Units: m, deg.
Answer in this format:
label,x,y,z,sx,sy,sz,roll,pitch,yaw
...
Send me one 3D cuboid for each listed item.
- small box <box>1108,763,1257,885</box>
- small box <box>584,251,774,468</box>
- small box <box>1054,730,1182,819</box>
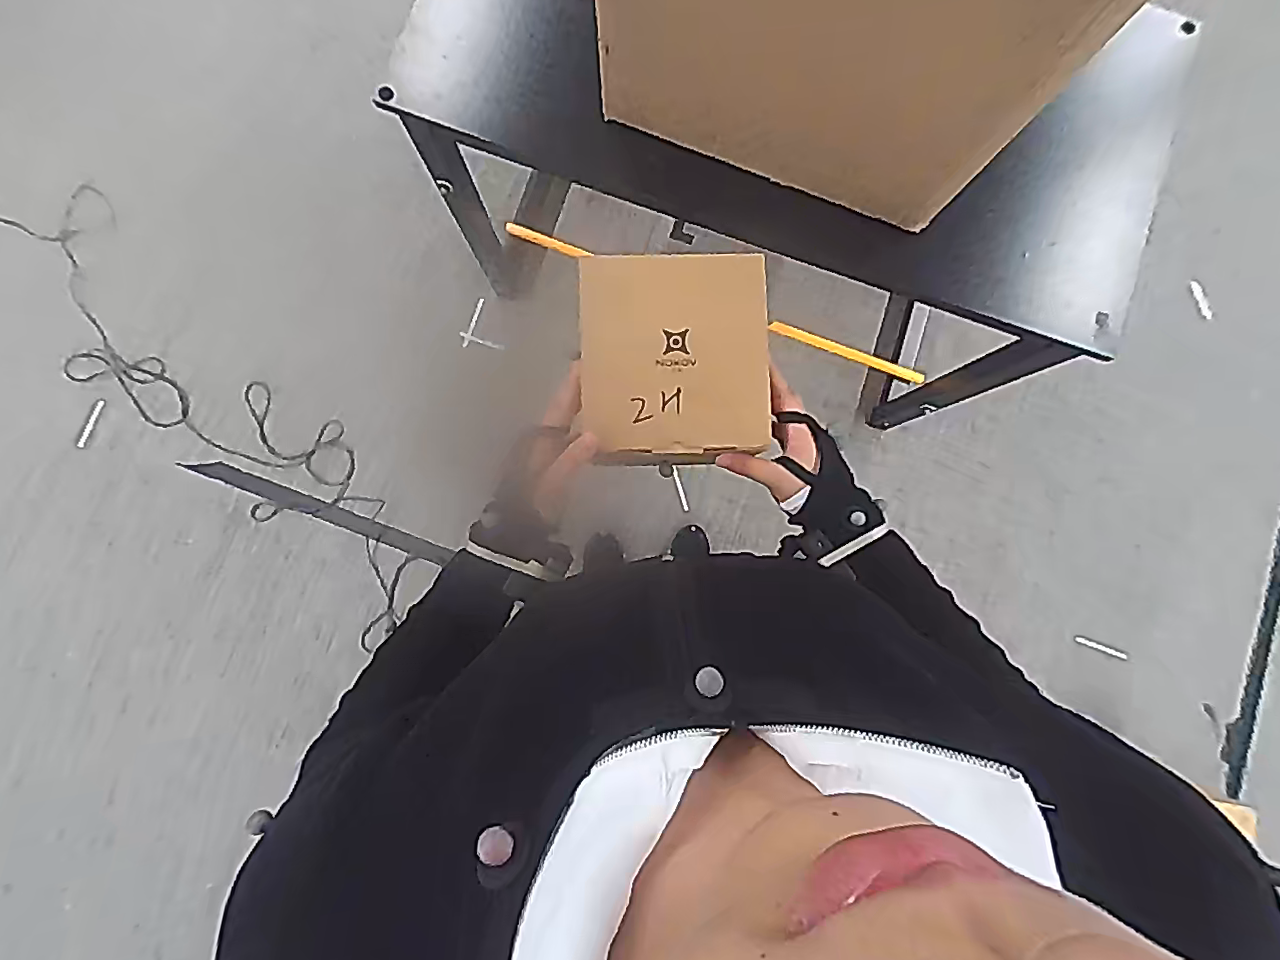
label,x,y,z,sx,sy,sz,roll,pitch,yaw
small box,1.233,0.777,1.242,0.179,0.176,0.168,13,84,0
small box,0.031,-0.108,0.547,0.168,0.176,0.179,-1,86,-1
small box,1.236,0.775,1.407,0.179,0.176,0.168,13,84,1
